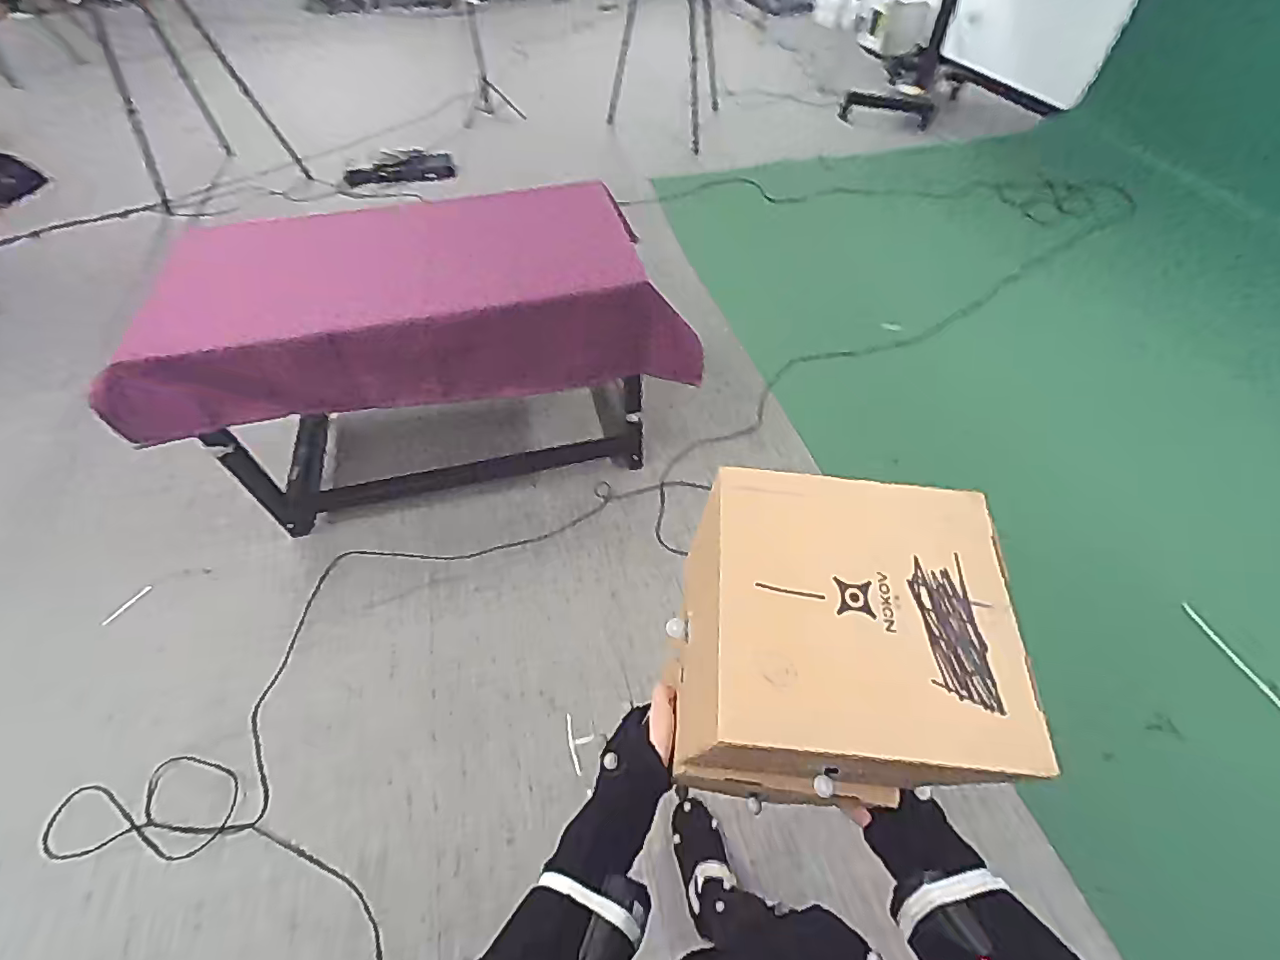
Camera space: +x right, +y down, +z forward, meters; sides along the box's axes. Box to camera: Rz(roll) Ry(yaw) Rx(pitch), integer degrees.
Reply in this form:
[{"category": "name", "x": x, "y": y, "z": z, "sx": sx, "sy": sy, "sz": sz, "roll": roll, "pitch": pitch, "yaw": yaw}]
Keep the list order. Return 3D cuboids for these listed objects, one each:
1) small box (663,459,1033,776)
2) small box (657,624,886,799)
[{"category": "small box", "x": 0.116, "y": 0.106, "z": 0.380, "sx": 0.179, "sy": 0.176, "sz": 0.168, "roll": 6, "pitch": 59, "yaw": 0}, {"category": "small box", "x": 0.111, "y": 0.193, "z": 0.519, "sx": 0.168, "sy": 0.176, "sz": 0.179, "roll": 9, "pitch": 59, "yaw": 1}]
